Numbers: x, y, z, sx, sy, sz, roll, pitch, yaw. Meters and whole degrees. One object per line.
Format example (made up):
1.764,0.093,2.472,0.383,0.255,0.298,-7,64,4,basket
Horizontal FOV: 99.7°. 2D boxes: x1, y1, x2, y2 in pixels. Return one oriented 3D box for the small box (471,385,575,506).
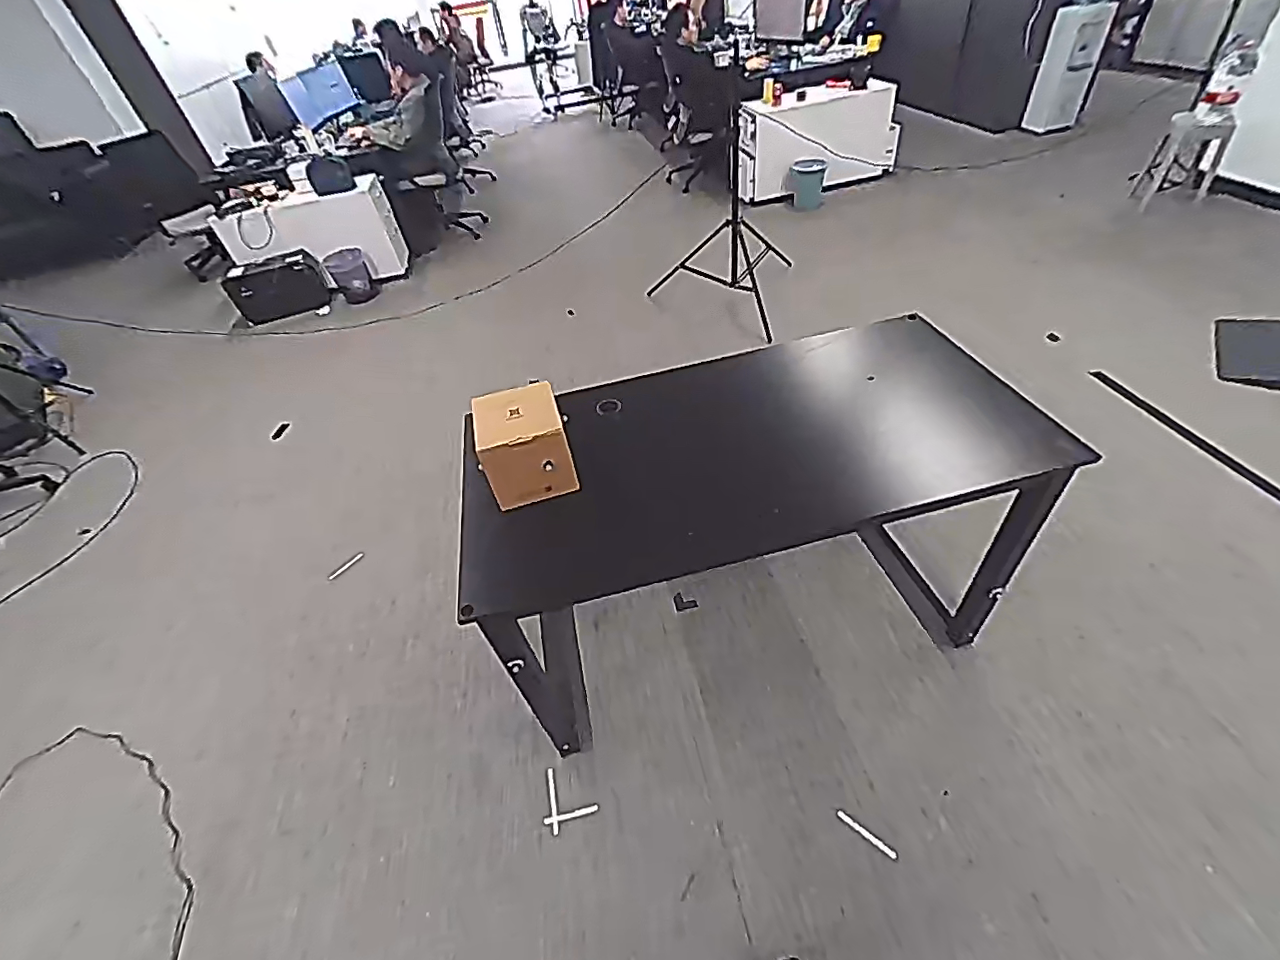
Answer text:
-0.239,-0.066,1.118,0.168,0.176,0.179,-15,44,-8,small box
